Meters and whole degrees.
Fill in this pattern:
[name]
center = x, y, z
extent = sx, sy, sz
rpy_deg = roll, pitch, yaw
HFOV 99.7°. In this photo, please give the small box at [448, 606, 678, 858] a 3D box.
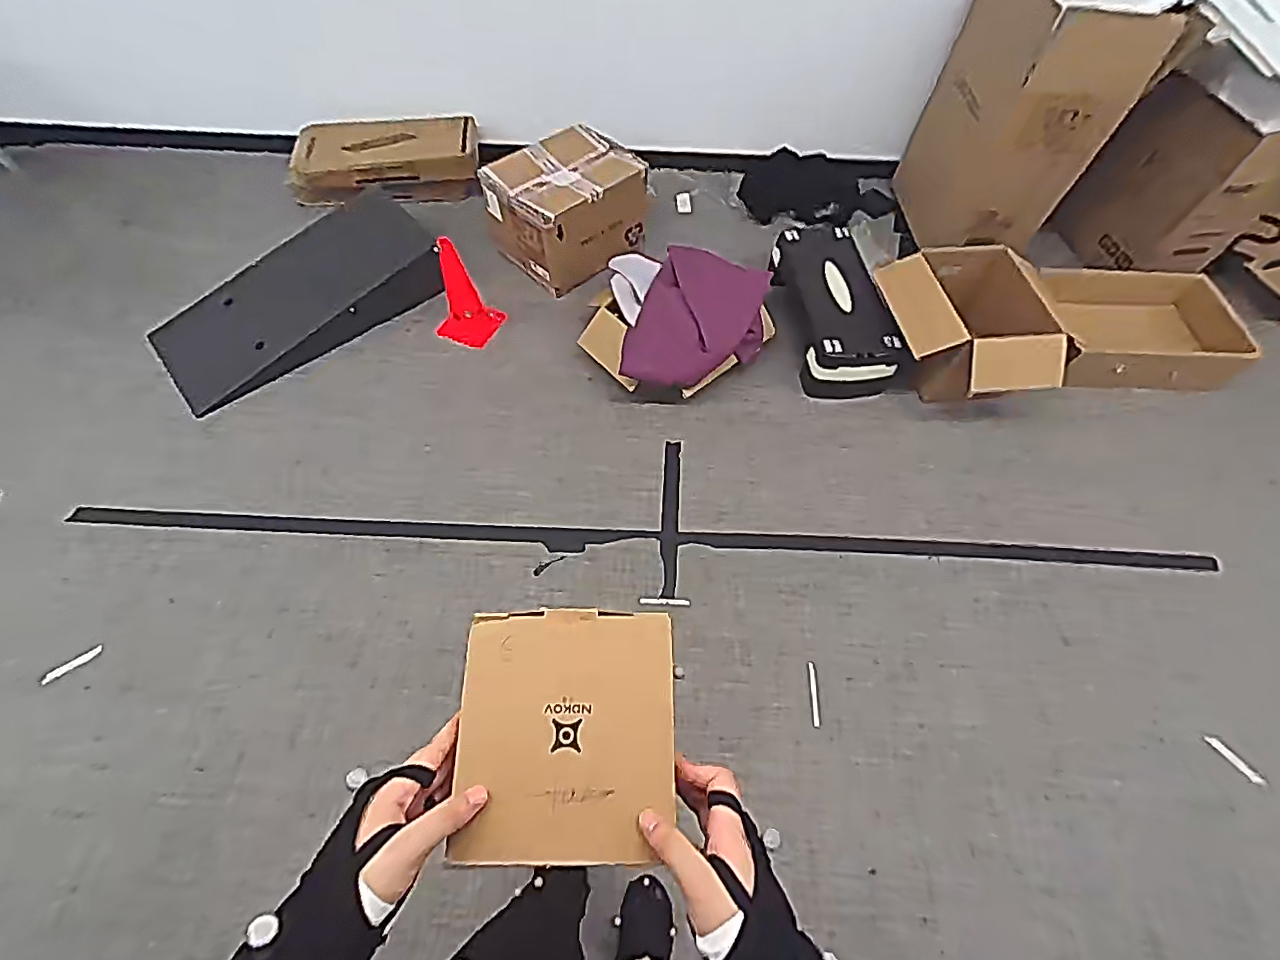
[small box]
center = -0.055, 0.216, 0.486
extent = 0.168, 0.176, 0.179
rpy_deg = 0, 68, 0
